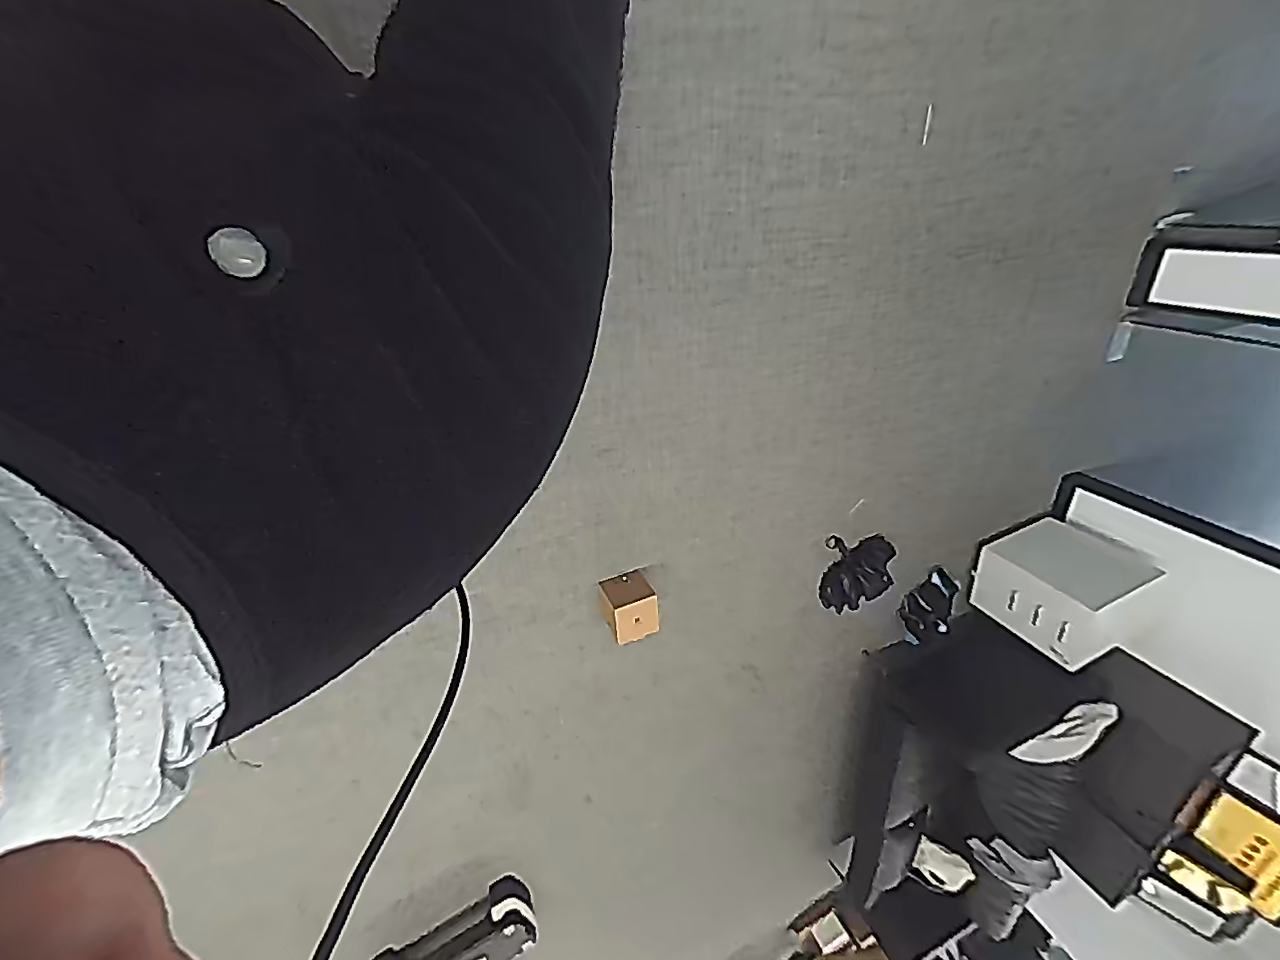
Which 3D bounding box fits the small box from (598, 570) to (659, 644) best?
[{"bbox_3d":[-0.043,0.462,1.990,0.168,0.176,0.179,-17,120,-20],"label":"small box"}]
